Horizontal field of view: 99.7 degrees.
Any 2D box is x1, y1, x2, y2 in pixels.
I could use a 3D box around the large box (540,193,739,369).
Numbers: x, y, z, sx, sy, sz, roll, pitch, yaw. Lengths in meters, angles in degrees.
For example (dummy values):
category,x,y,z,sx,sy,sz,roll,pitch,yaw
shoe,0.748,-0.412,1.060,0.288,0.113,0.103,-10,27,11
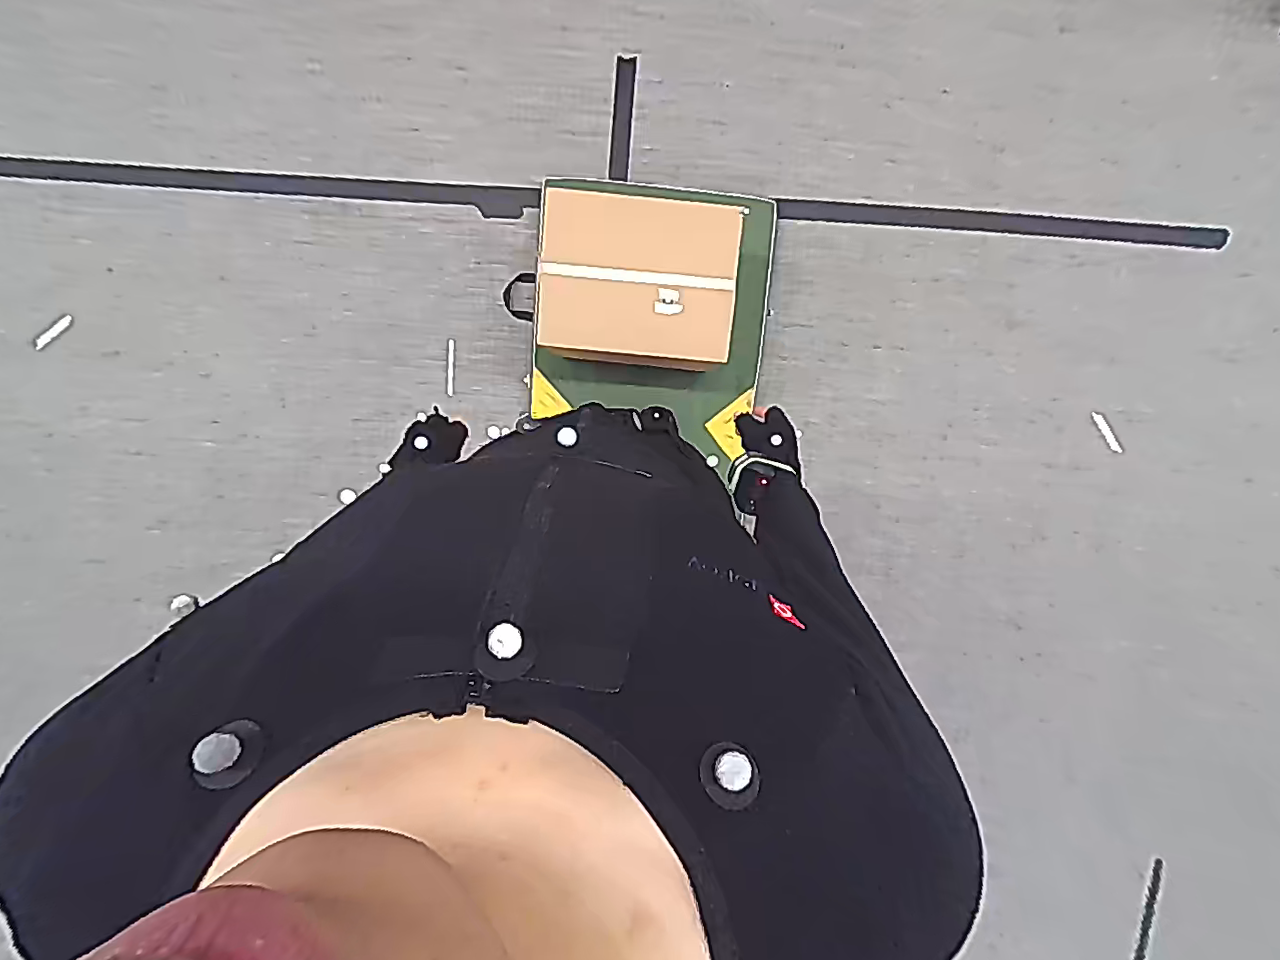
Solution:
category,x,y,z,sx,sy,sz,roll,pitch,yaw
large box,-0.008,-0.441,1.274,0.408,0.320,0.320,5,98,-2
